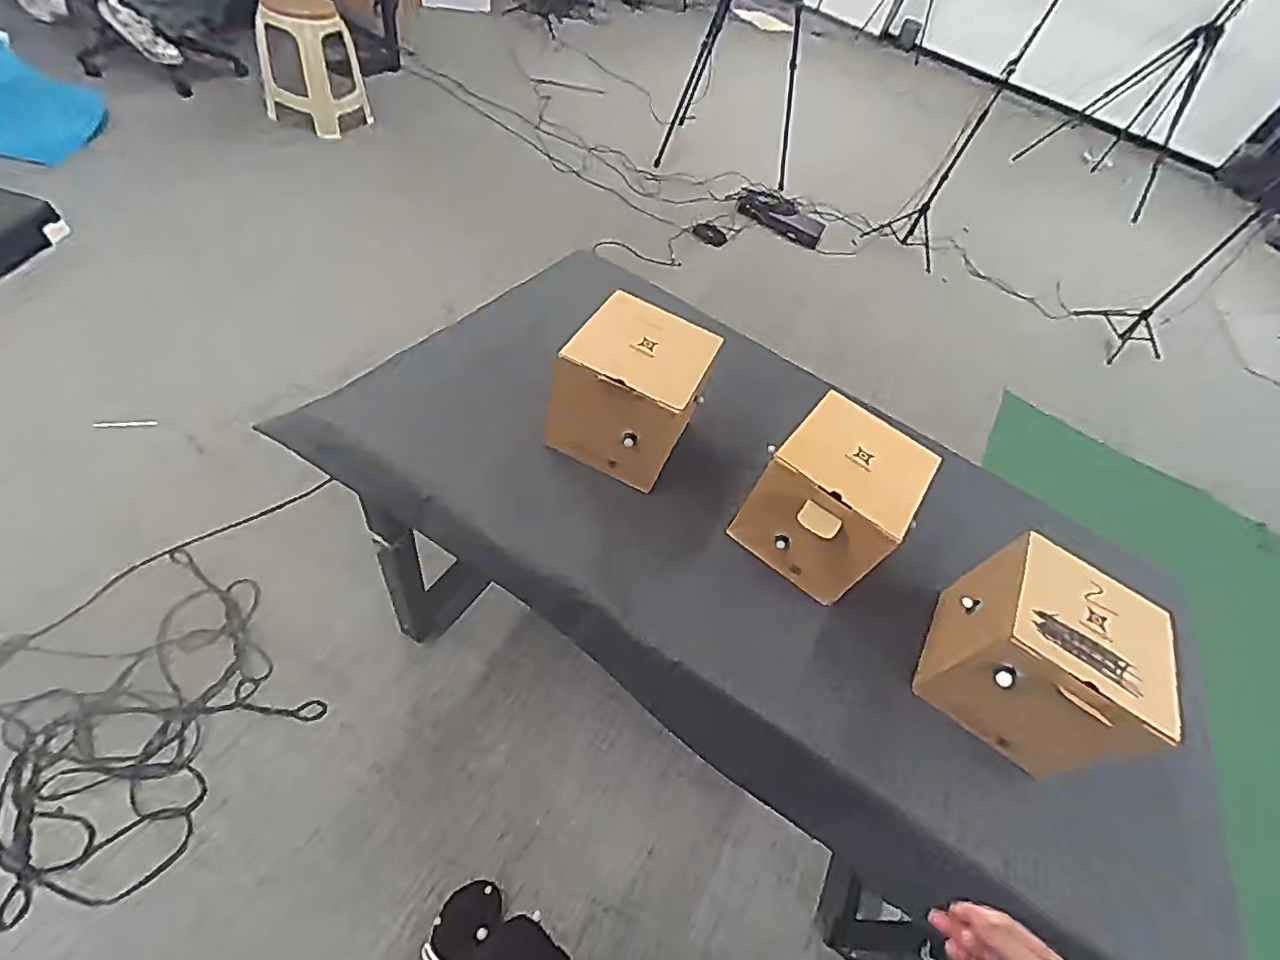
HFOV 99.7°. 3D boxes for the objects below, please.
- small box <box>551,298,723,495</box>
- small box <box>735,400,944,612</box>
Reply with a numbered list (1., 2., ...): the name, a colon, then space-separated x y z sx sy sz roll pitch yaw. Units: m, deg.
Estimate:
1. small box: -0.010 -0.111 0.743 0.168 0.176 0.179 27 48 4
2. small box: 0.248 0.034 0.701 0.168 0.176 0.179 37 51 14
